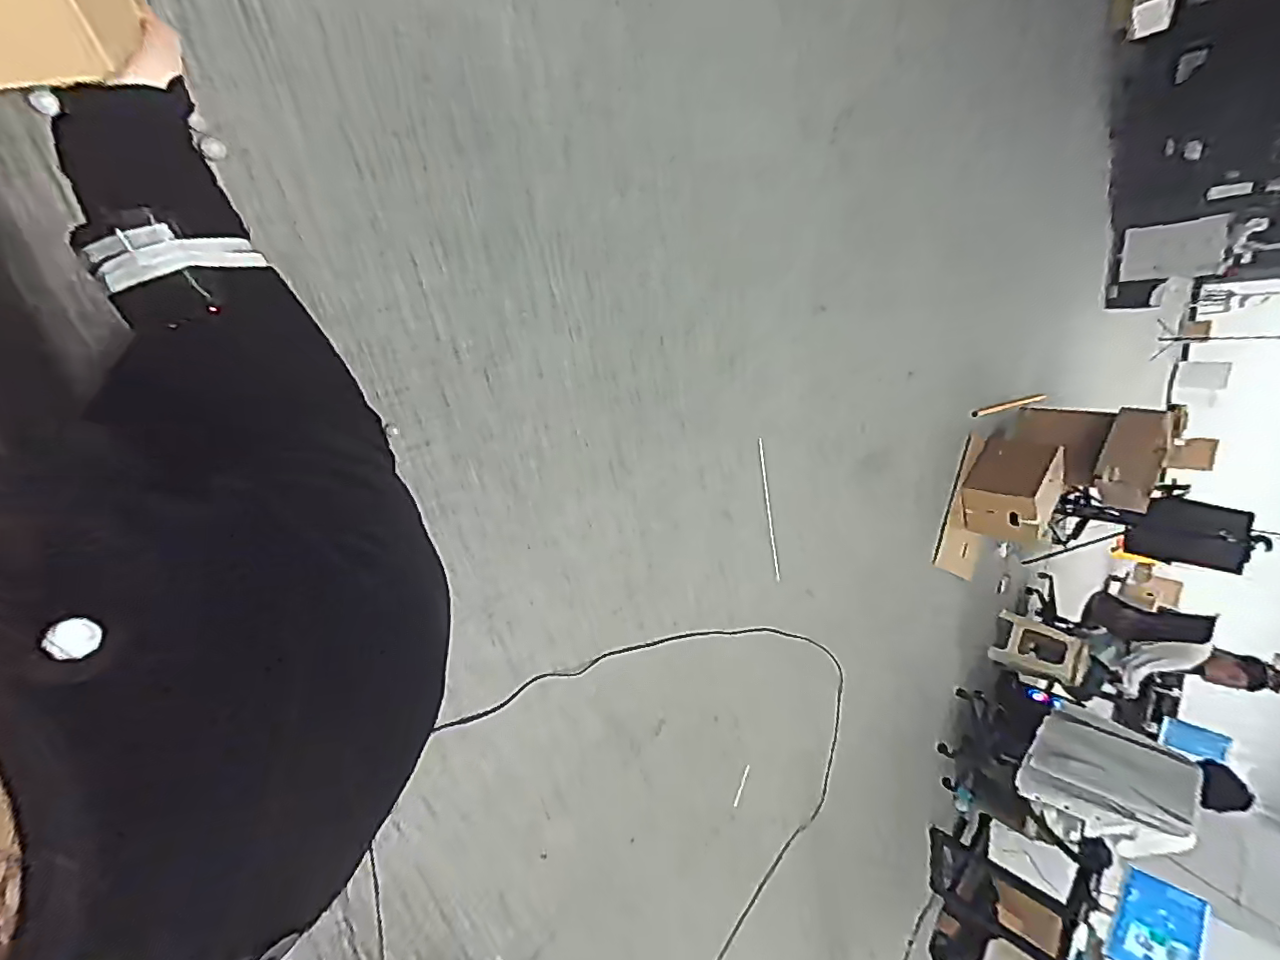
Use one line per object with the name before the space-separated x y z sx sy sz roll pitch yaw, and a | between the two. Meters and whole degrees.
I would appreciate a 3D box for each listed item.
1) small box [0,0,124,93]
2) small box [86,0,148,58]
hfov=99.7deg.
small box | -0.358 -0.257 0.208 0.179 0.176 0.168 -22 140 -19
small box | -0.436 -0.357 0.312 0.179 0.176 0.168 -20 140 -21
